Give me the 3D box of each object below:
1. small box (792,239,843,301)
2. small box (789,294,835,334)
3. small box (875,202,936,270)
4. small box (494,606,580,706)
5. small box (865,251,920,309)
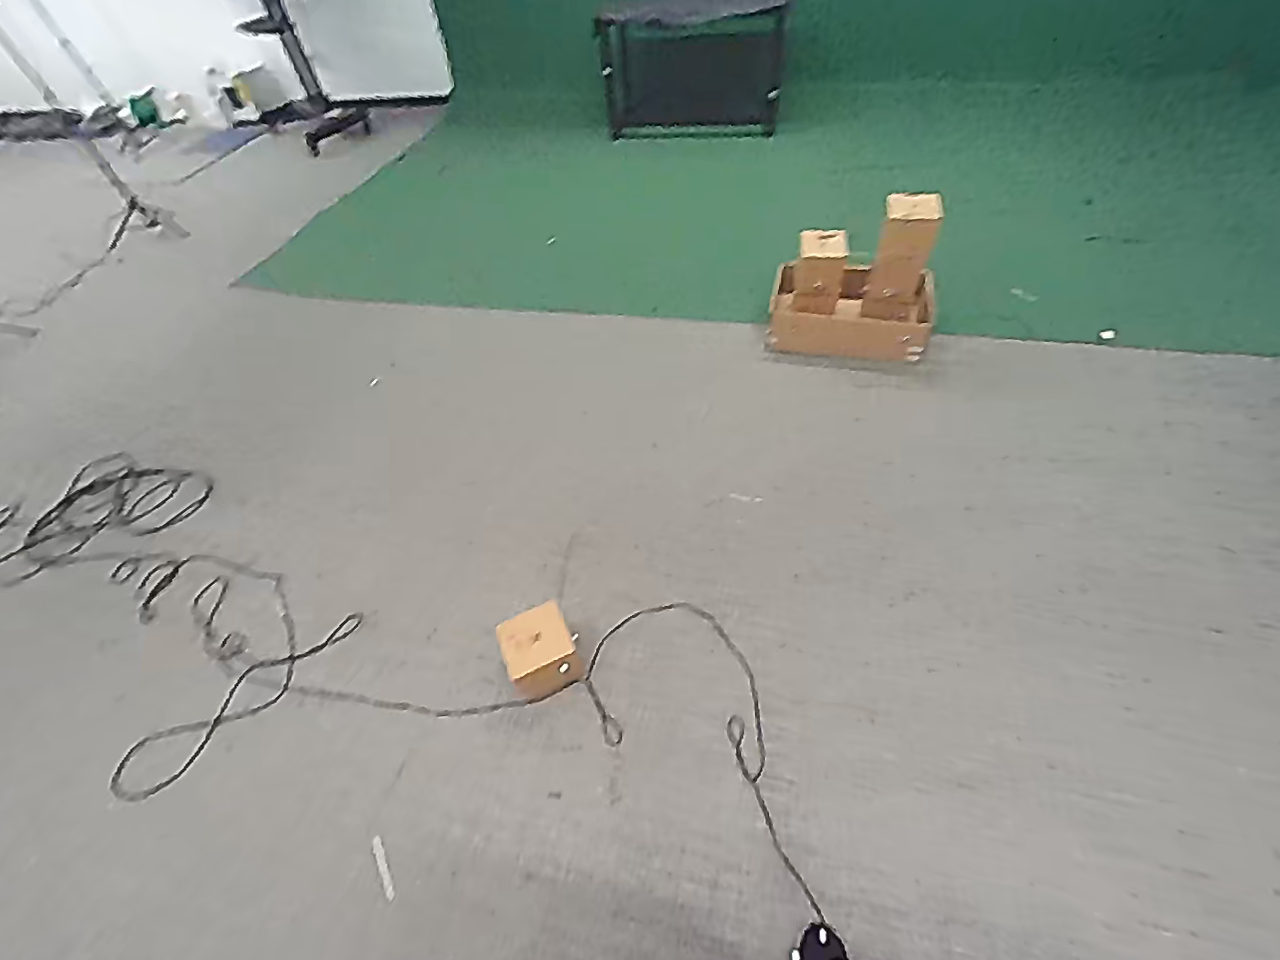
[{"bbox_3d":[0.713,-0.850,2.186,0.168,0.176,0.179,4,53,9],"label":"small box"},{"bbox_3d":[0.736,-0.754,2.320,0.168,0.176,0.179,6,52,10],"label":"small box"},{"bbox_3d":[0.966,-0.896,1.983,0.168,0.176,0.179,7,51,14],"label":"small box"},{"bbox_3d":[-0.272,0.479,1.463,0.179,0.176,0.168,-23,50,-12],"label":"small box"},{"bbox_3d":[0.982,-0.793,2.110,0.168,0.176,0.179,9,54,16],"label":"small box"}]
